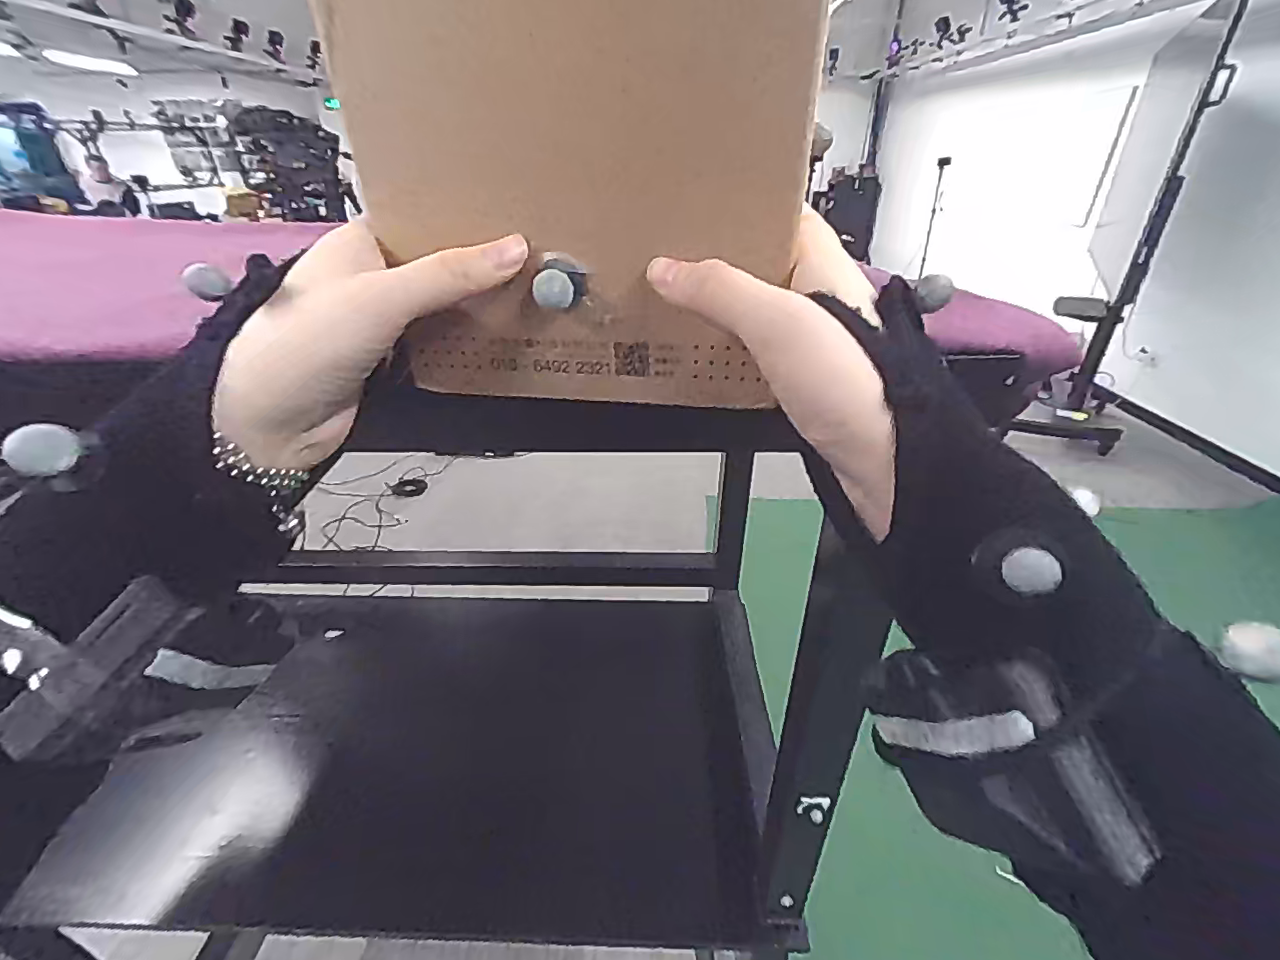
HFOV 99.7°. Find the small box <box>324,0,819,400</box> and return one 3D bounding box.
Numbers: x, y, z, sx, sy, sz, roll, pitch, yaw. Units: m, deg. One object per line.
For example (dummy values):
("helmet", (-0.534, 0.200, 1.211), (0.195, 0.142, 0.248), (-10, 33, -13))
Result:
("small box", (-0.013, -0.155, 0.255), (0.168, 0.176, 0.179), (5, 37, 10))
